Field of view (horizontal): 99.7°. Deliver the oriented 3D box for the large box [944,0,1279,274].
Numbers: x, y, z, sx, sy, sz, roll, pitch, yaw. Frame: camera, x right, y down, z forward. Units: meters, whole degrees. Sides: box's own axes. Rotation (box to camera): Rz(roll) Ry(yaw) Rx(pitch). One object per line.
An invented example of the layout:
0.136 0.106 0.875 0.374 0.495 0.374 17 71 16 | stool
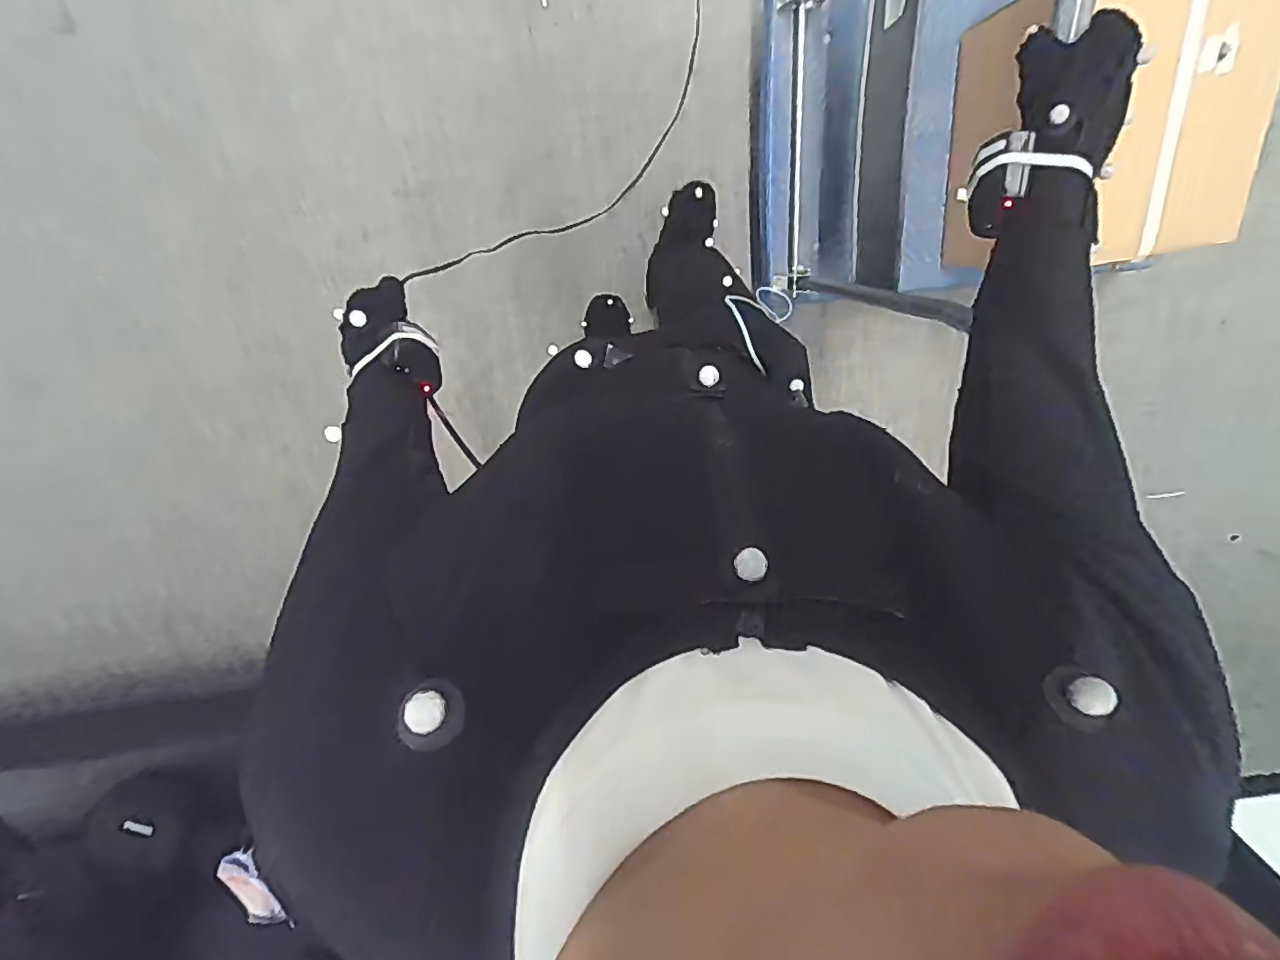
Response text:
0.769 -0.600 0.938 0.320 0.320 0.408 -9 114 1 | large box
